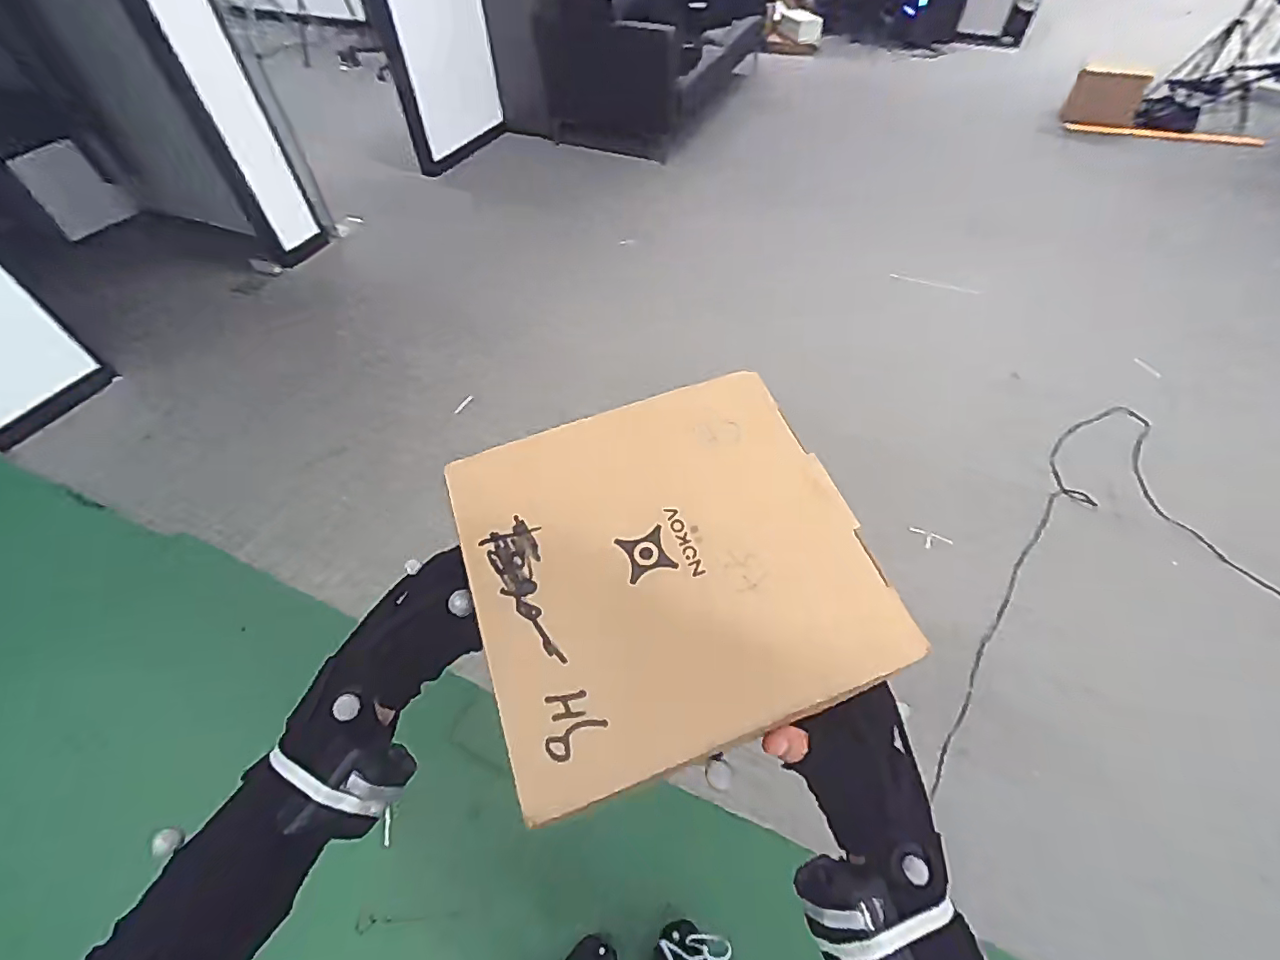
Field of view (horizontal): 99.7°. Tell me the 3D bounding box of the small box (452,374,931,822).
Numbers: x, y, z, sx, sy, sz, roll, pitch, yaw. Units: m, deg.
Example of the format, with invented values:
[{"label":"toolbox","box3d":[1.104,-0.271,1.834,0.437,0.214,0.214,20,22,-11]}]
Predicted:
[{"label":"small box","box3d":[0.012,0.071,0.312,0.179,0.176,0.168,-17,60,-10]}]
